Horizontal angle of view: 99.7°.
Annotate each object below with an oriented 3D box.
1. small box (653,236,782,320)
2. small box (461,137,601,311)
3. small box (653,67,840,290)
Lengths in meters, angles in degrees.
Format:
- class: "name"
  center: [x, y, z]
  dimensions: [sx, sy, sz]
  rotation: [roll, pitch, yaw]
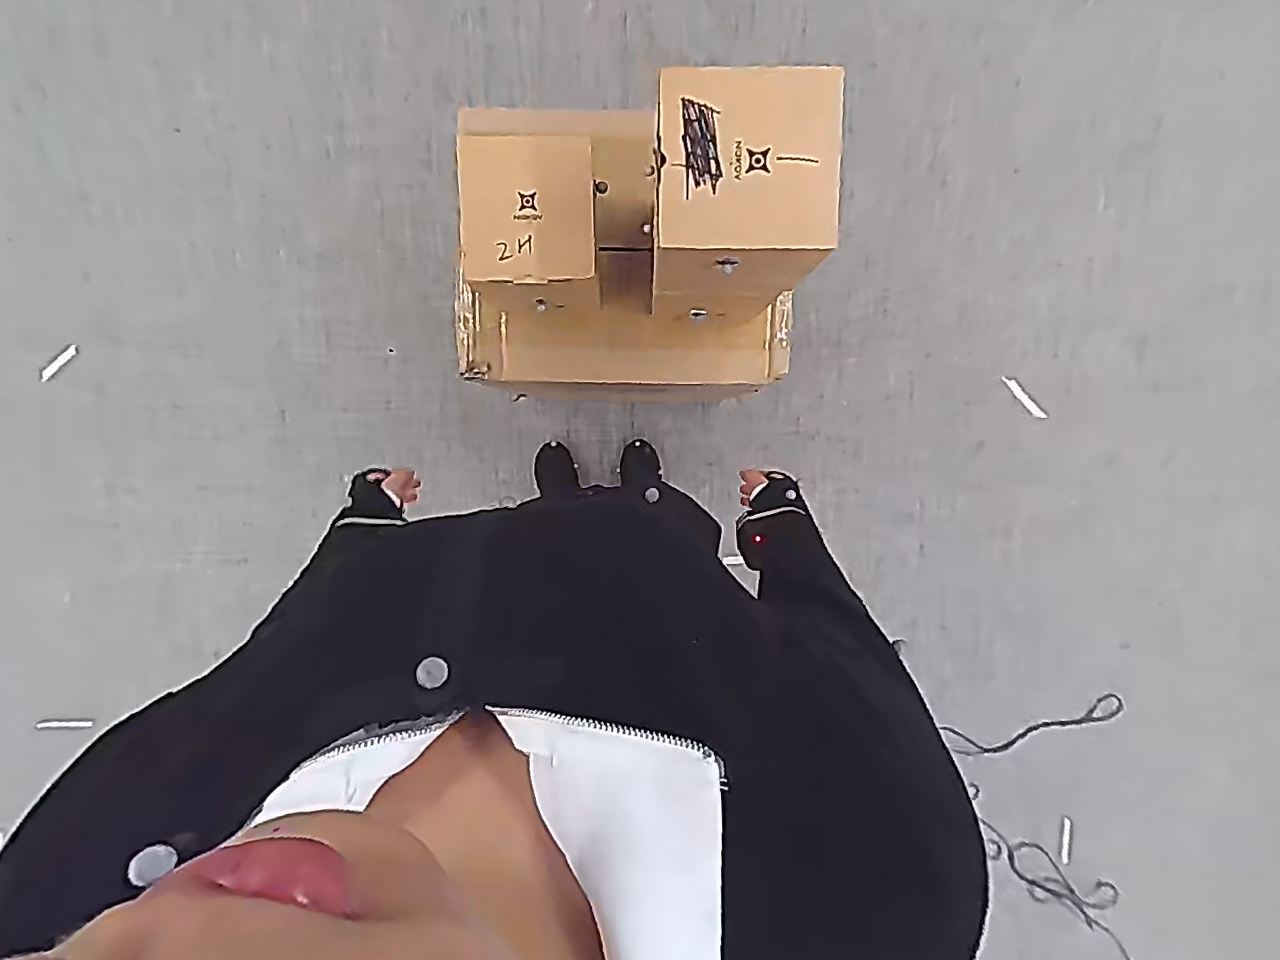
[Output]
- class: "small box"
  center: [0.102, -0.330, 0.761]
  dimensions: [0.168, 0.176, 0.179]
  rotation: [0, 97, 1]
- class: "small box"
  center: [-0.142, -0.344, 0.754]
  dimensions: [0.168, 0.176, 0.179]
  rotation: [-1, 96, -2]
- class: "small box"
  center: [0.103, -0.314, 0.597]
  dimensions: [0.179, 0.176, 0.168]
  rotation: [0, 96, 0]
